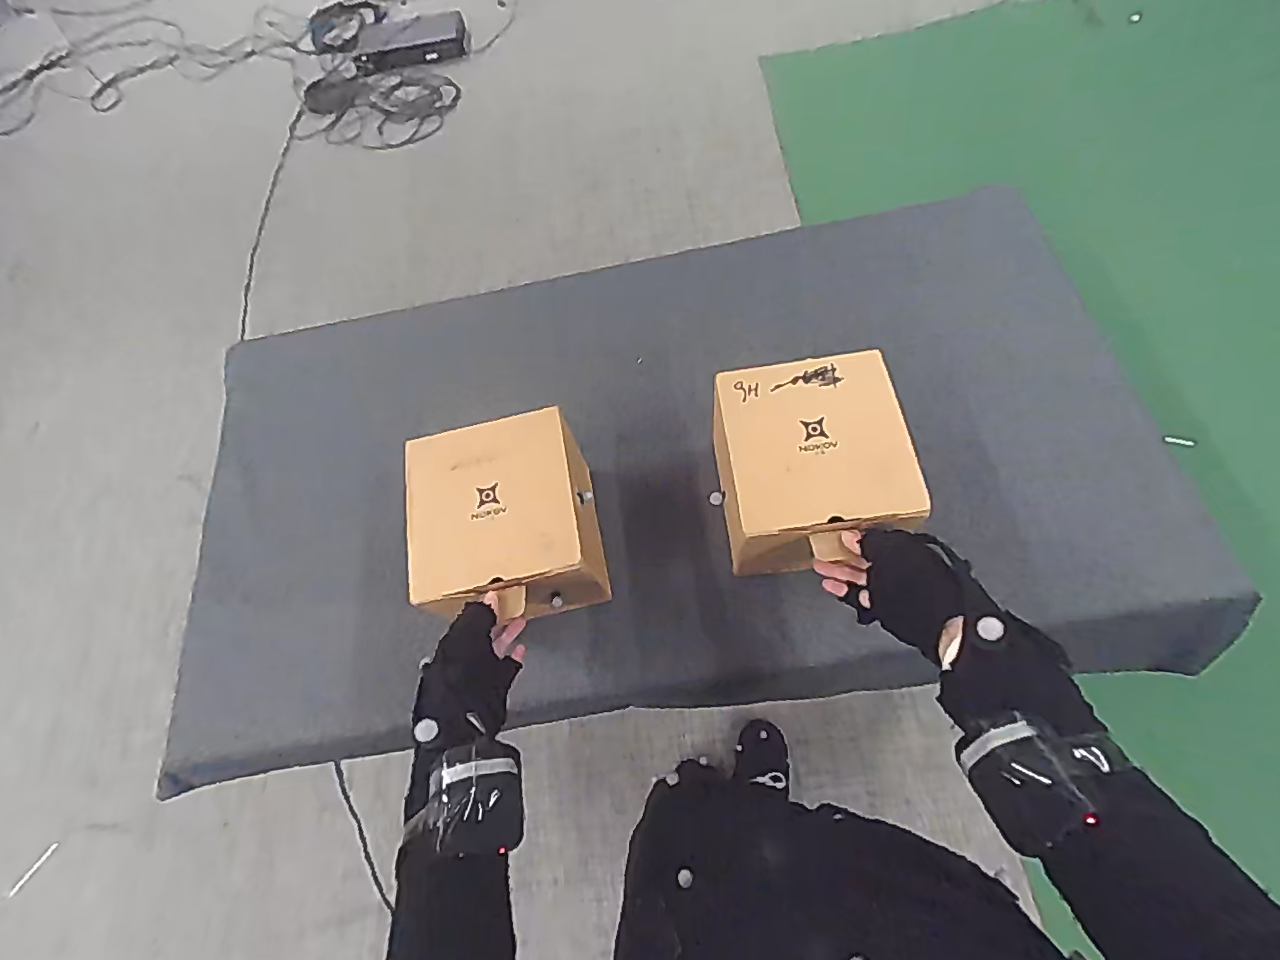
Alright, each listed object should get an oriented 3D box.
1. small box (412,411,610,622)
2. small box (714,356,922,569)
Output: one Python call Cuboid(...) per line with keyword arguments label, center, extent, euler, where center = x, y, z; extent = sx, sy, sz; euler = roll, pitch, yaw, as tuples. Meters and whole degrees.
Cuboid(label="small box", center=(-0.136, 0.053, 0.607), extent=(0.168, 0.176, 0.179), euler=(-13, 65, 0))
Cuboid(label="small box", center=(0.175, -0.006, 0.591), extent=(0.168, 0.176, 0.179), euler=(-8, 67, 5))
